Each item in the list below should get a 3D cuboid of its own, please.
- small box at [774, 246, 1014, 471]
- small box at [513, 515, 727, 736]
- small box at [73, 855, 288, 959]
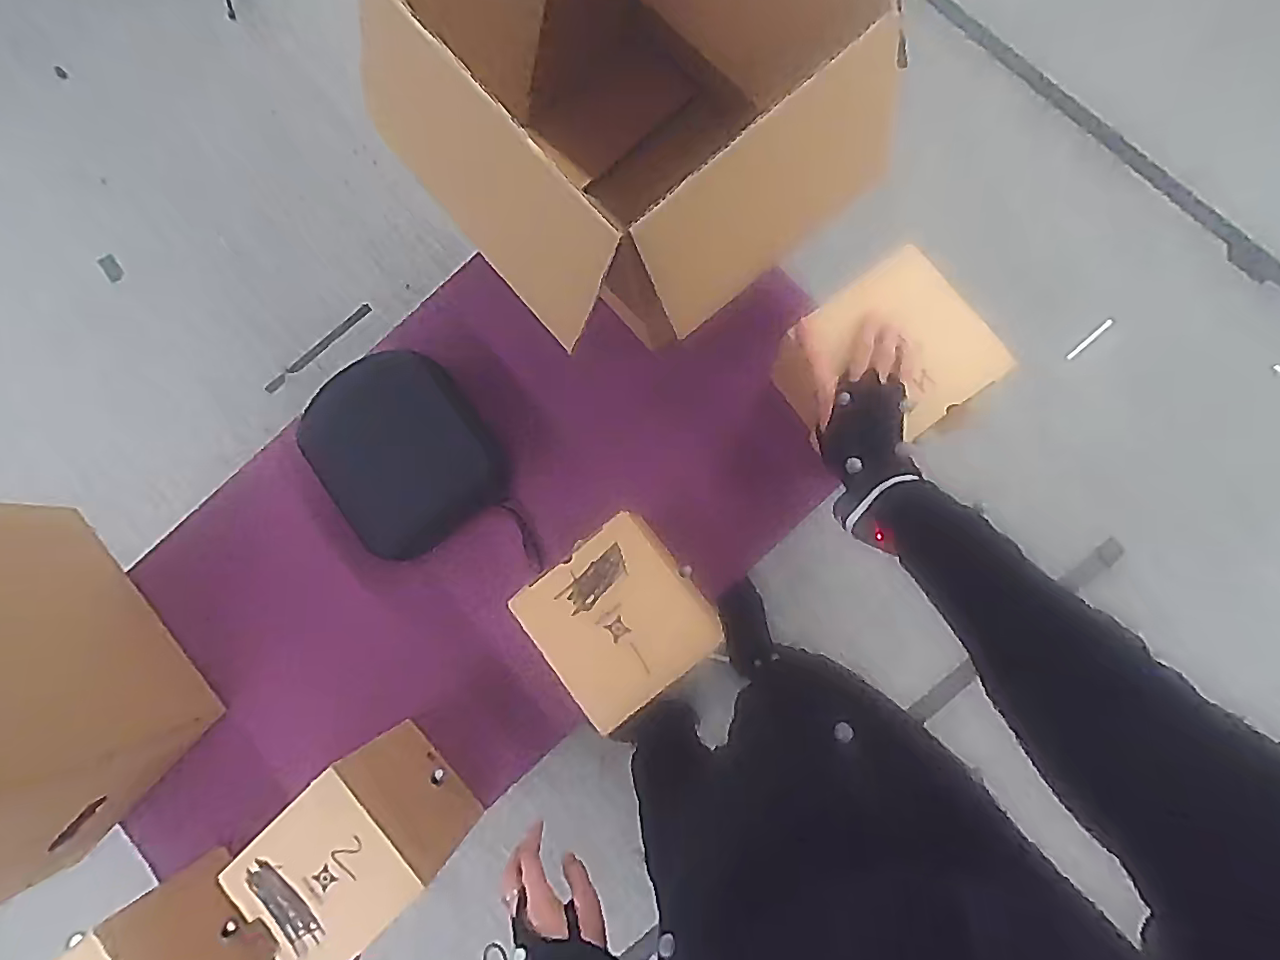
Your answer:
[{"bbox_3d":[0.281,-0.129,0.649,0.168,0.176,0.179,-36,81,2],"label":"small box"},{"bbox_3d":[-0.017,0.161,0.652,0.168,0.176,0.179,-39,82,1],"label":"small box"},{"bbox_3d":[-0.590,0.624,0.663,0.179,0.176,0.168,-43,81,-1],"label":"small box"}]
